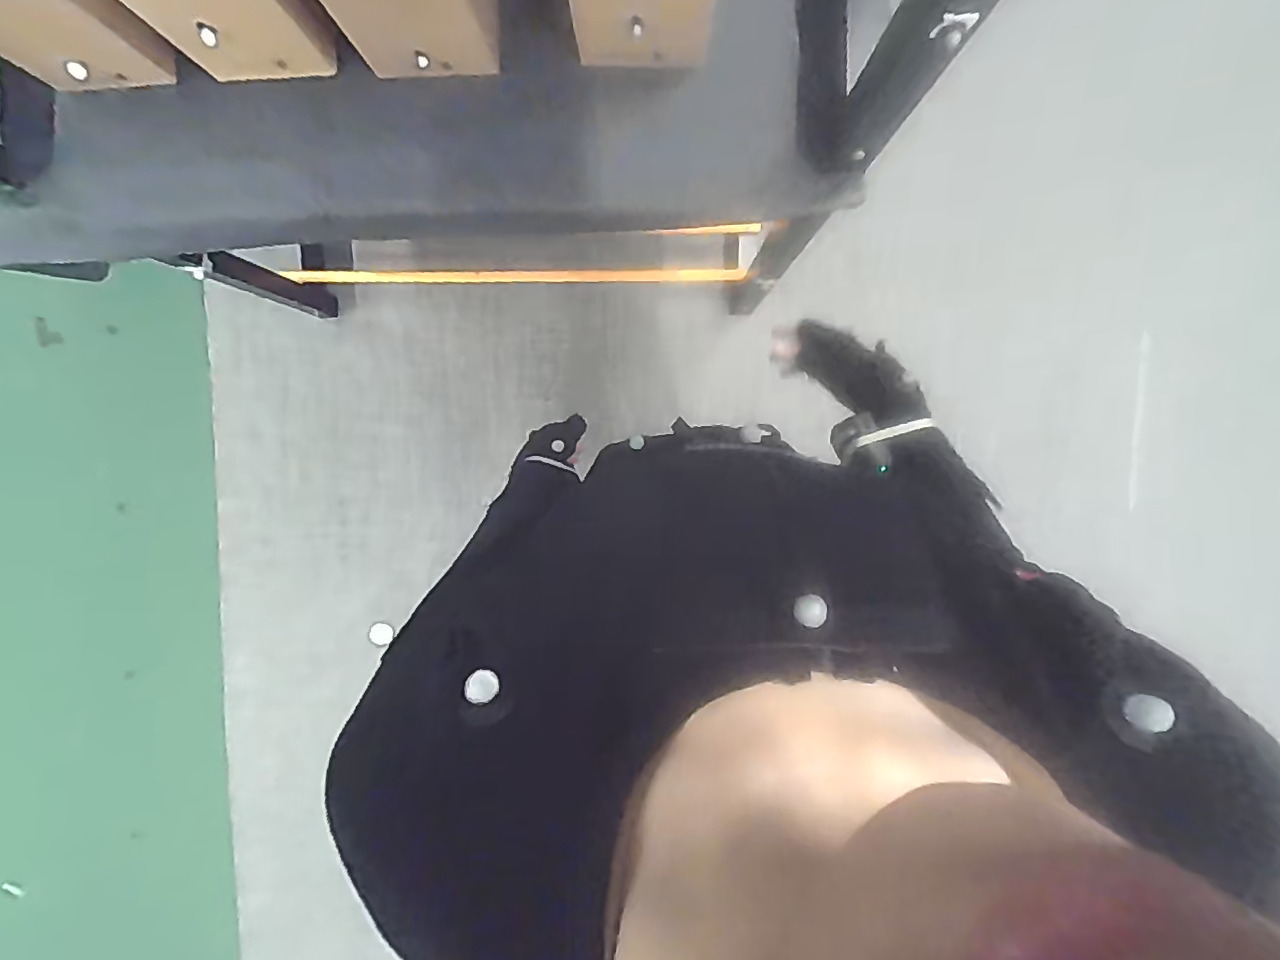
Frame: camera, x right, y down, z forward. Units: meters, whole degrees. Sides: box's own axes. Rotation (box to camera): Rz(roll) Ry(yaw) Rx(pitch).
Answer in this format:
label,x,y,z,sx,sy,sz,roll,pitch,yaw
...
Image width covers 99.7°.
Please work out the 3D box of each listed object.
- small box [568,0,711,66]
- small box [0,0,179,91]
label,x,y,z,sx,sy,sz,roll,pitch,yaw
small box,0.004,-0.619,0.621,0.168,0.176,0.179,3,94,1
small box,-0.705,-0.611,0.646,0.168,0.176,0.179,-3,95,2
